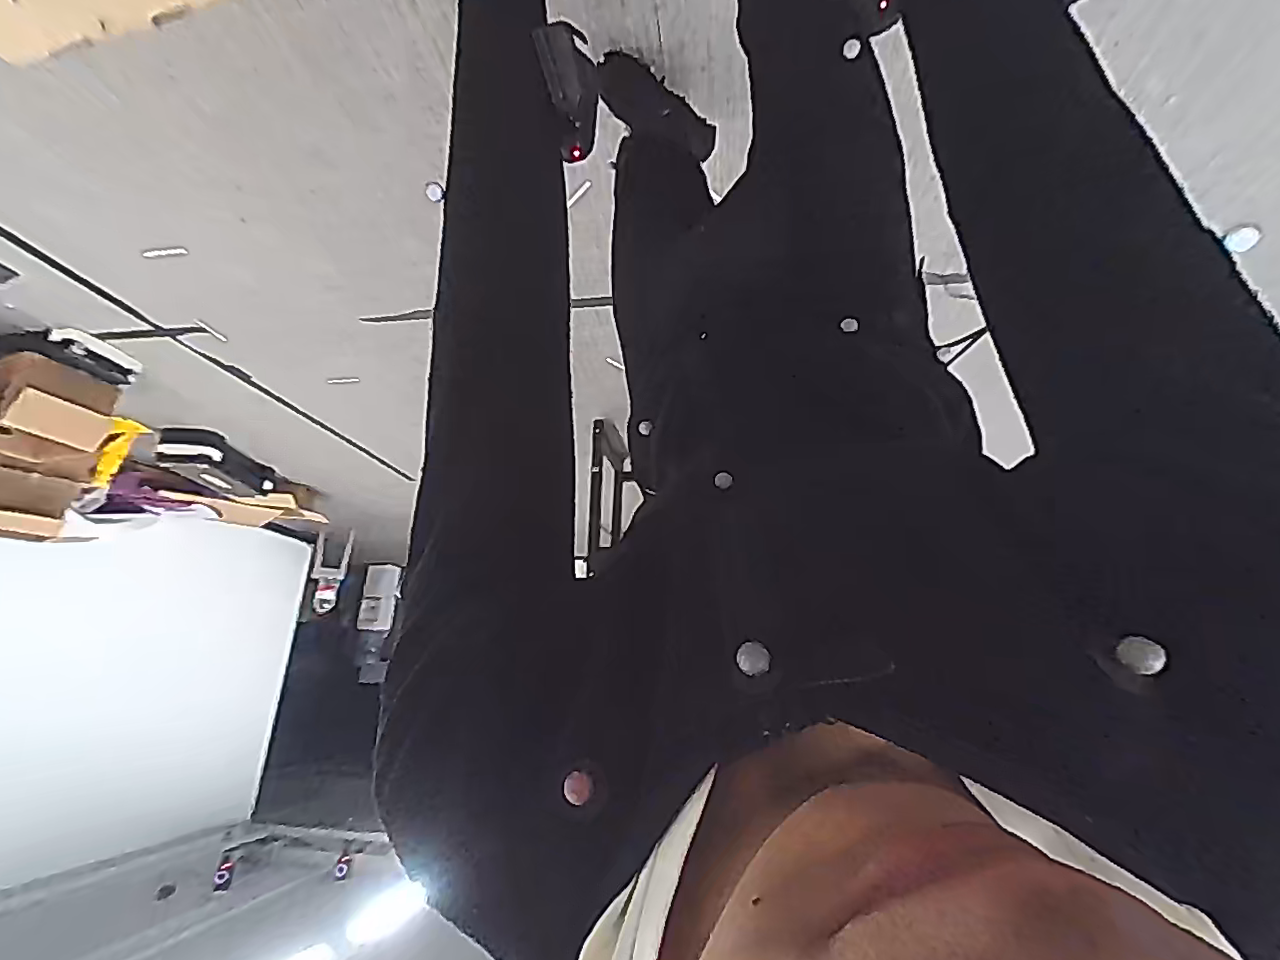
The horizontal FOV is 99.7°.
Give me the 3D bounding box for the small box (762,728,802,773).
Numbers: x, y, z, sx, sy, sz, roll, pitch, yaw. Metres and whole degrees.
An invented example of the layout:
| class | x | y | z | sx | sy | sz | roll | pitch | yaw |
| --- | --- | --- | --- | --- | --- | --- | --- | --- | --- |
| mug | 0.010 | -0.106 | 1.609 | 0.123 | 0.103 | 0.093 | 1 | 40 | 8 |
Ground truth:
| class | x | y | z | sx | sy | sz | roll | pitch | yaw |
| --- | --- | --- | --- | --- | --- | --- | --- | --- | --- |
| small box | 0.652 | 1.242 | 2.492 | 0.168 | 0.176 | 0.179 | -2 | 159 | 10 |
